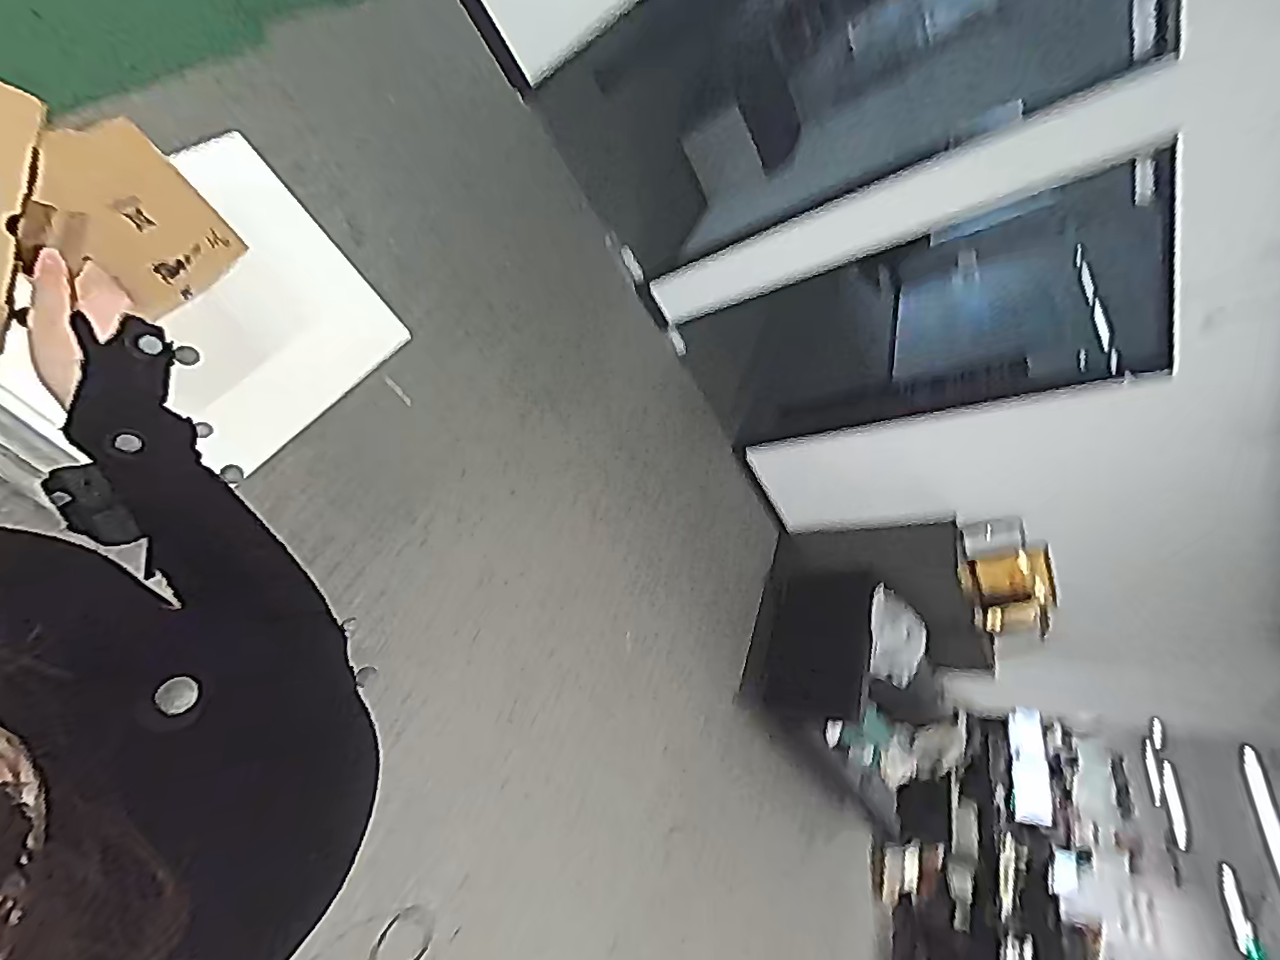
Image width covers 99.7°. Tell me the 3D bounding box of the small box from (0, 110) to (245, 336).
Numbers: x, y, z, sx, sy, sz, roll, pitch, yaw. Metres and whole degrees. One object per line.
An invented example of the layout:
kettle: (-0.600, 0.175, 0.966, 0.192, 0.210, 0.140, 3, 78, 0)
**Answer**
small box: (-0.663, -0.311, 0.677, 0.179, 0.176, 0.168, 55, 43, -31)
